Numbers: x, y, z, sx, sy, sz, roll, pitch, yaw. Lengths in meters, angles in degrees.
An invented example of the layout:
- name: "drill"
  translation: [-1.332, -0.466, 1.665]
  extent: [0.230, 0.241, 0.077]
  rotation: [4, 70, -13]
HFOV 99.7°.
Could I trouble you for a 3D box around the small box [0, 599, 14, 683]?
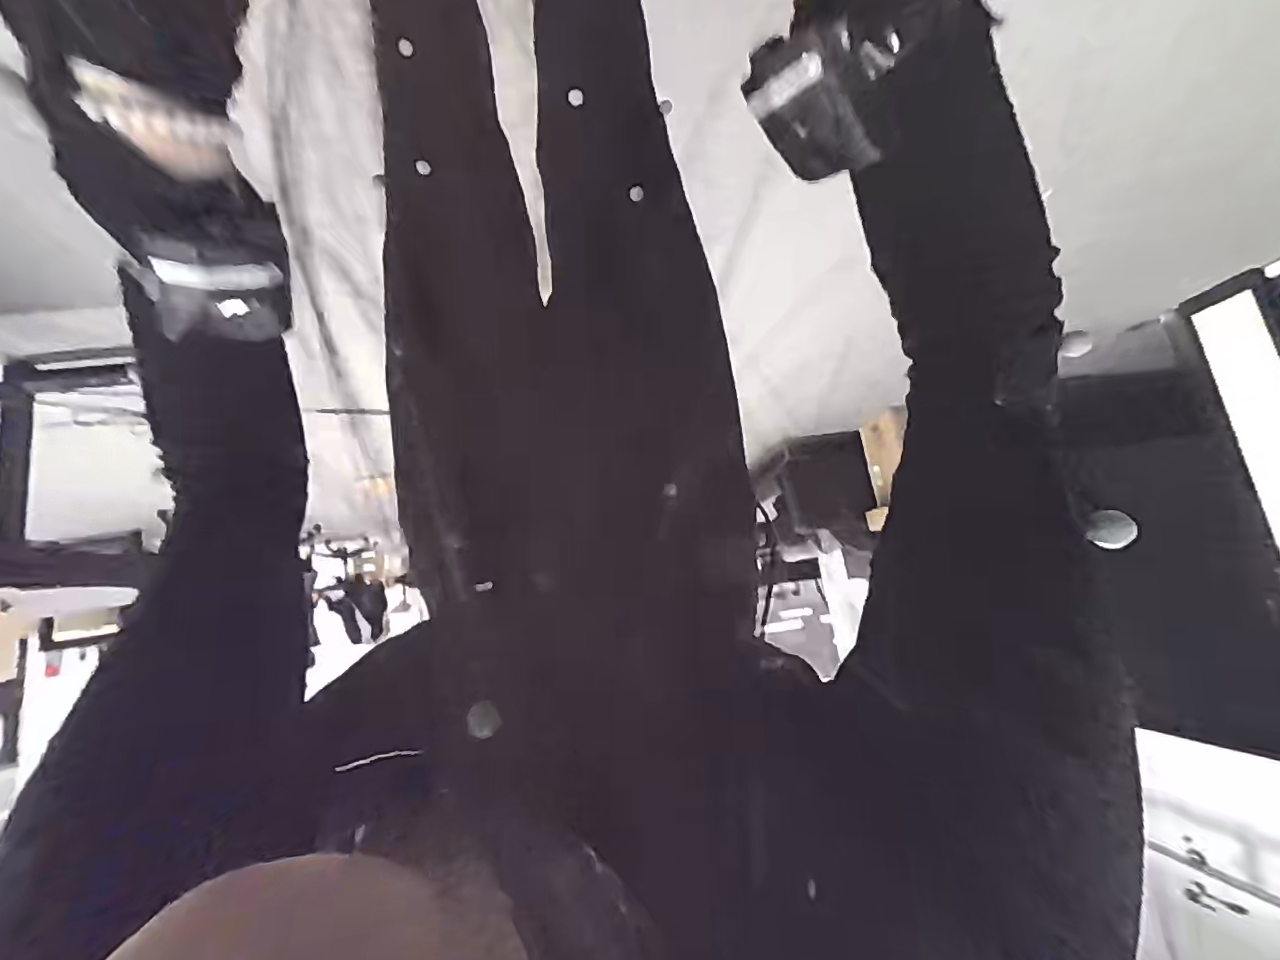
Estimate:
- name: "small box"
  translation: [-1.307, 0.304, 0.977]
  extent: [0.179, 0.176, 0.168]
  rotation: [-6, 168, -9]
